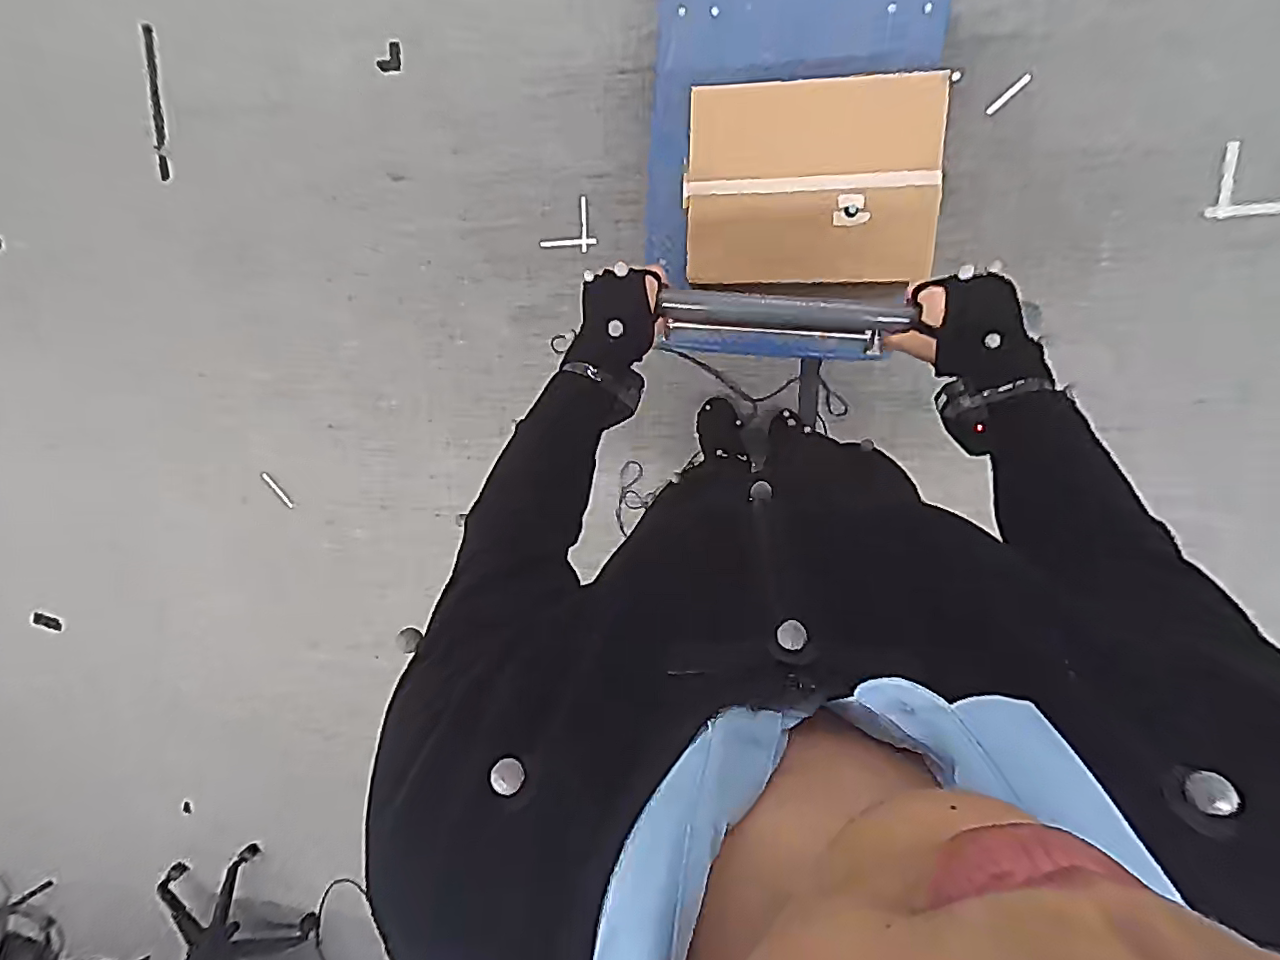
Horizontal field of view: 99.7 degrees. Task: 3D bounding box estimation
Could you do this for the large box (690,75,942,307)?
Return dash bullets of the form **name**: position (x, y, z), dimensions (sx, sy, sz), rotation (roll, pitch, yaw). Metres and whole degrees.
- **large box**: position (0.303, -0.521, 1.053), dimensions (0.408, 0.320, 0.320), rotation (2, 101, 7)
